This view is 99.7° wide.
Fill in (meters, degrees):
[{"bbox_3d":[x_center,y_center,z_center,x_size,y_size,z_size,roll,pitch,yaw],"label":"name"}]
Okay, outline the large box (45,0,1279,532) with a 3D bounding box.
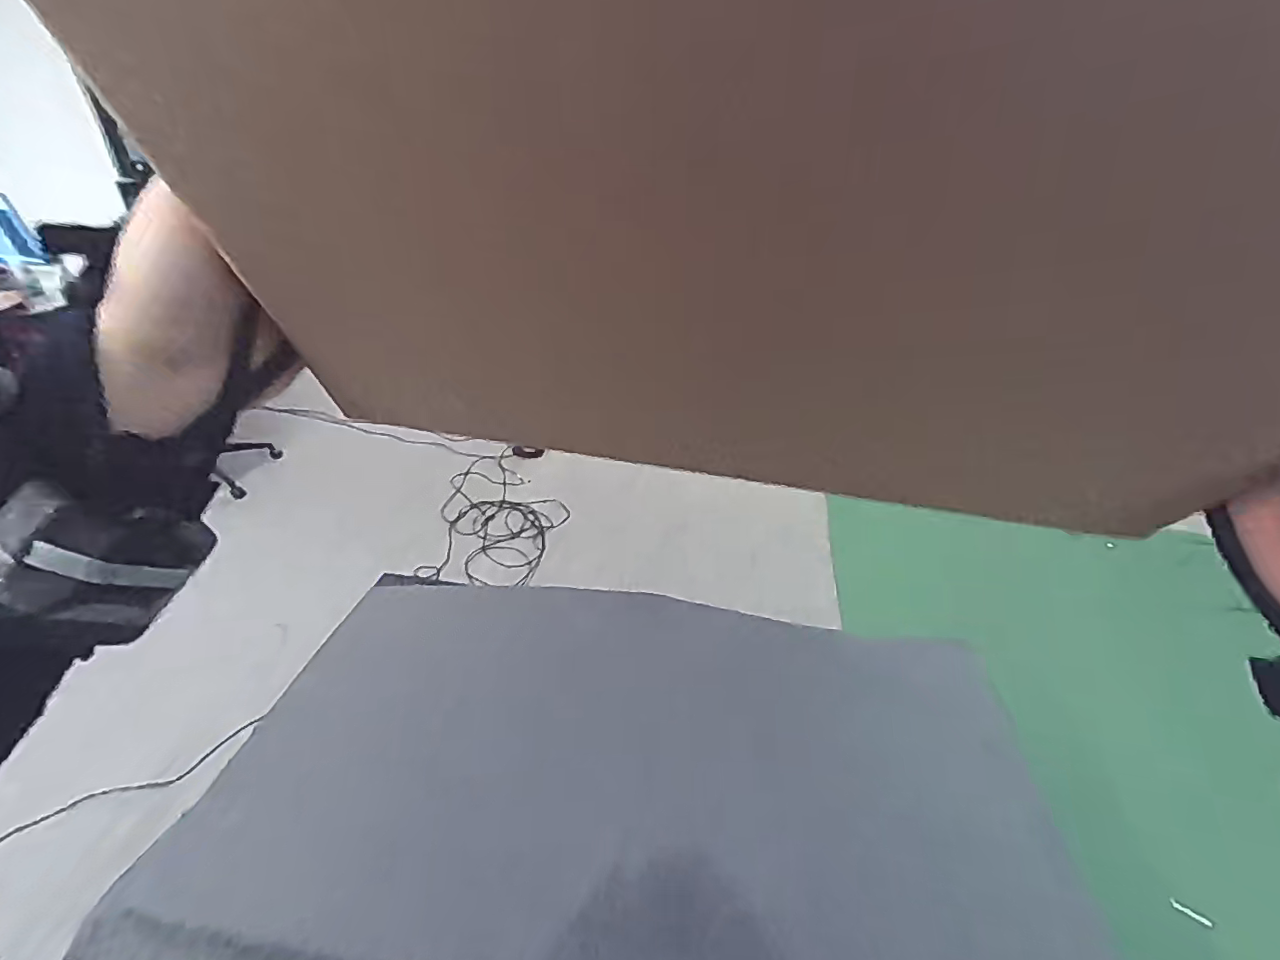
[{"bbox_3d":[0.065,-0.198,0.235,0.408,0.320,0.320,8,62,3],"label":"large box"}]
